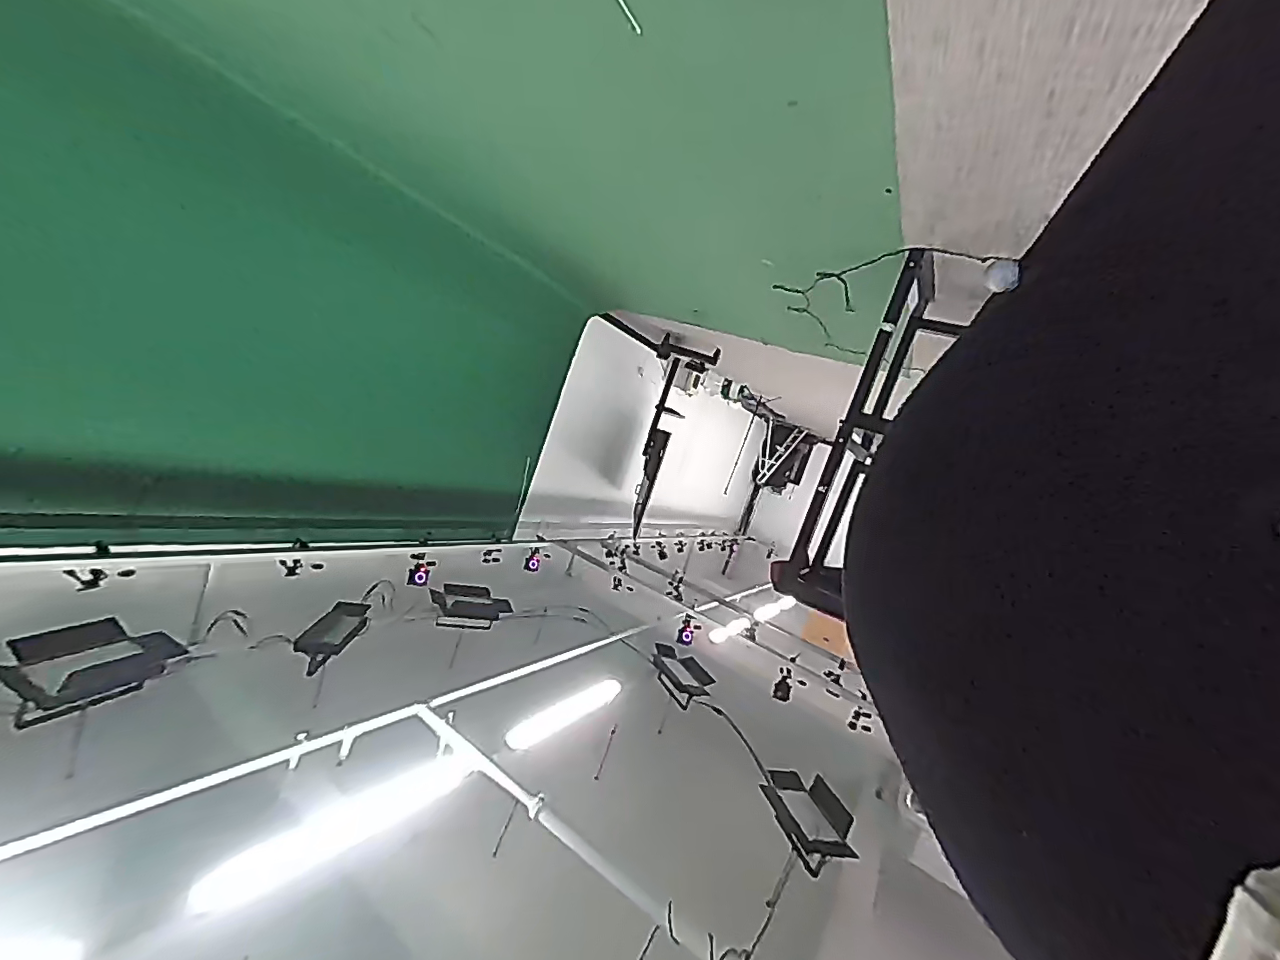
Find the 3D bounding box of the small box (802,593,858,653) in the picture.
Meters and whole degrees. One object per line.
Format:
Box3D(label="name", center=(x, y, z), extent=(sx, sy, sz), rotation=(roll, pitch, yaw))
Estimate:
Box3D(label="small box", center=(0.811, 0.600, 2.289), extent=(0.179, 0.176, 0.168), rotation=(21, -173, 28))
